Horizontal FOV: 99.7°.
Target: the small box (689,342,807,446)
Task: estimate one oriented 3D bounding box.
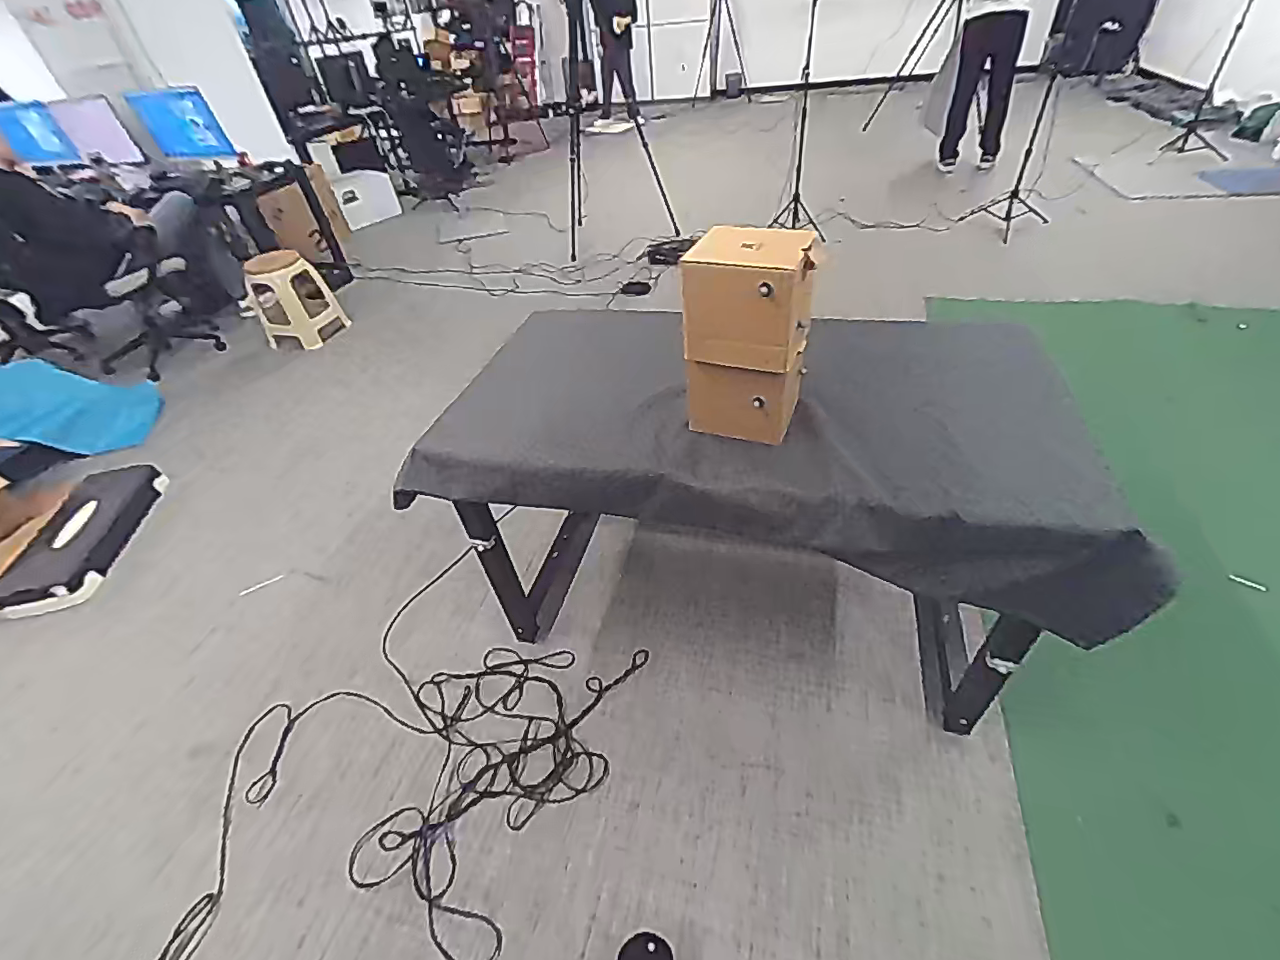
[{"bbox_3d":[0.201,-0.183,0.999,0.179,0.176,0.168,12,44,21],"label":"small box"}]

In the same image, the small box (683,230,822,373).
[{"bbox_3d":[0.181,-0.290,0.877,0.179,0.176,0.168,14,45,21],"label":"small box"}]
